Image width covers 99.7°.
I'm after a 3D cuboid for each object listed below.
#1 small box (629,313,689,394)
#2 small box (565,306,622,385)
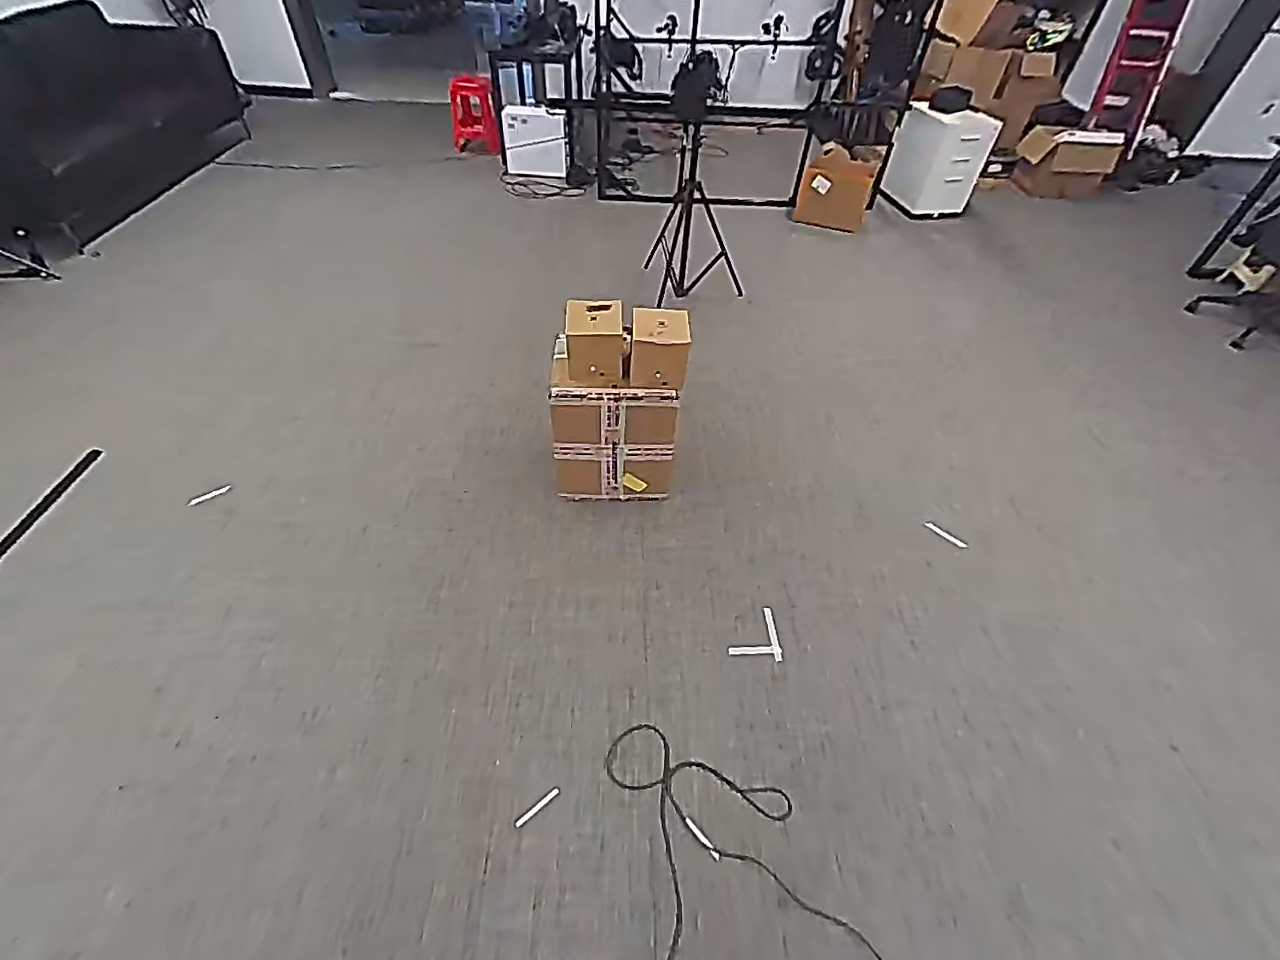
[{"bbox_3d":[0.053,-0.384,1.642,0.168,0.176,0.179,2,49,-3],"label":"small box"},{"bbox_3d":[-0.139,-0.411,1.653,0.168,0.176,0.179,-1,51,-3],"label":"small box"}]
